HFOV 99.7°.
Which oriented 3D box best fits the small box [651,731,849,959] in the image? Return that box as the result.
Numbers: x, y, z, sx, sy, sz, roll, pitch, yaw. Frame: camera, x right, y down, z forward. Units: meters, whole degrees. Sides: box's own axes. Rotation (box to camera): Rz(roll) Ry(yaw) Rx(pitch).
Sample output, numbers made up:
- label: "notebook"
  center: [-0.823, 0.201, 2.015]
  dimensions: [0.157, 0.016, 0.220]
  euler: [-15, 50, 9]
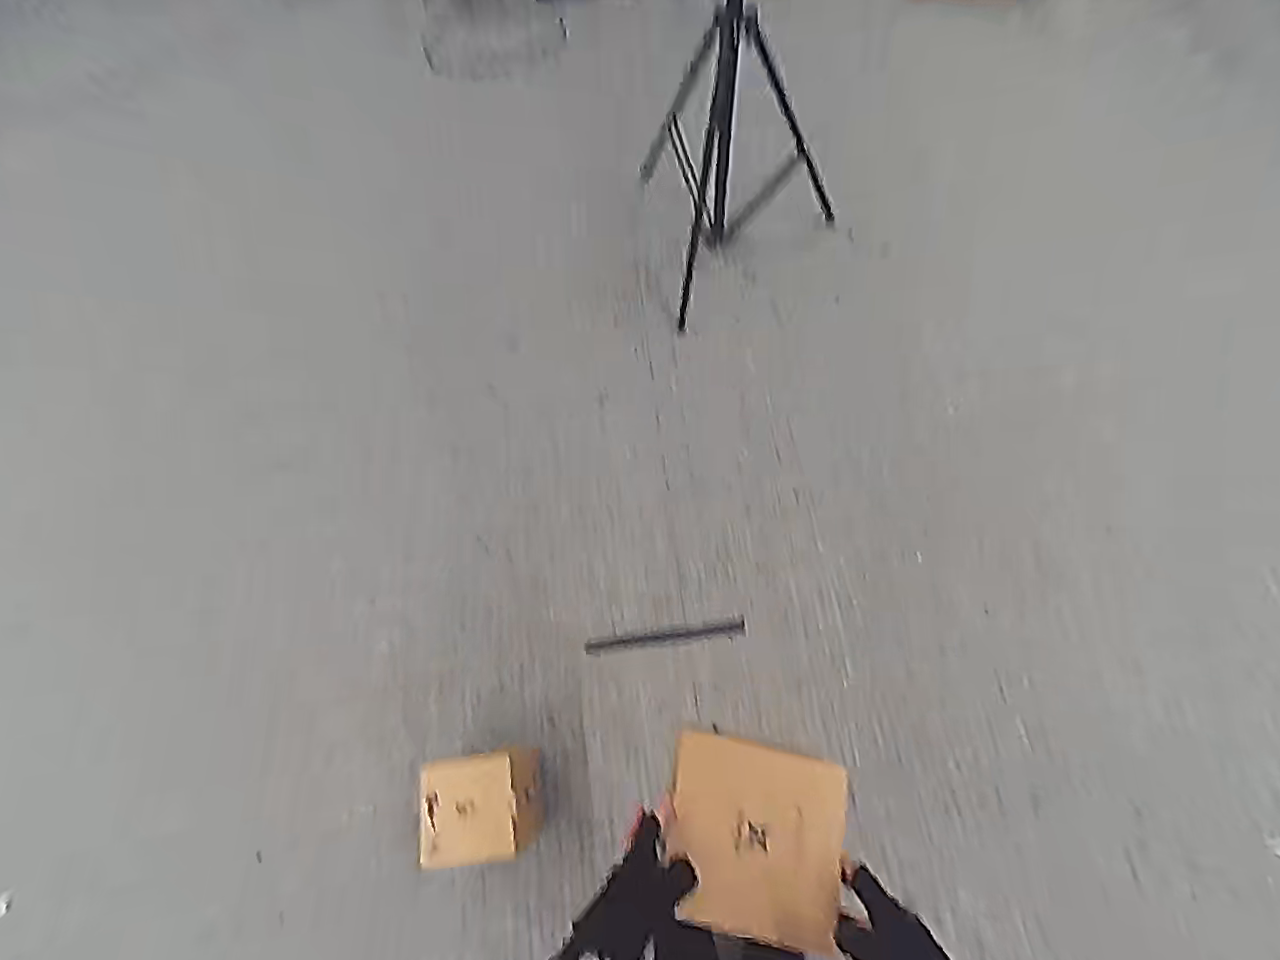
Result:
- label: "small box"
  center: [0.113, 0.387, 0.602]
  dimensions: [0.179, 0.176, 0.168]
  euler: [10, 71, 5]

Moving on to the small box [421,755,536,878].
- label: "small box"
  center: [-0.306, 0.646, 1.057]
  dimensions: [0.179, 0.176, 0.168]
  euler: [-8, 68, 1]
